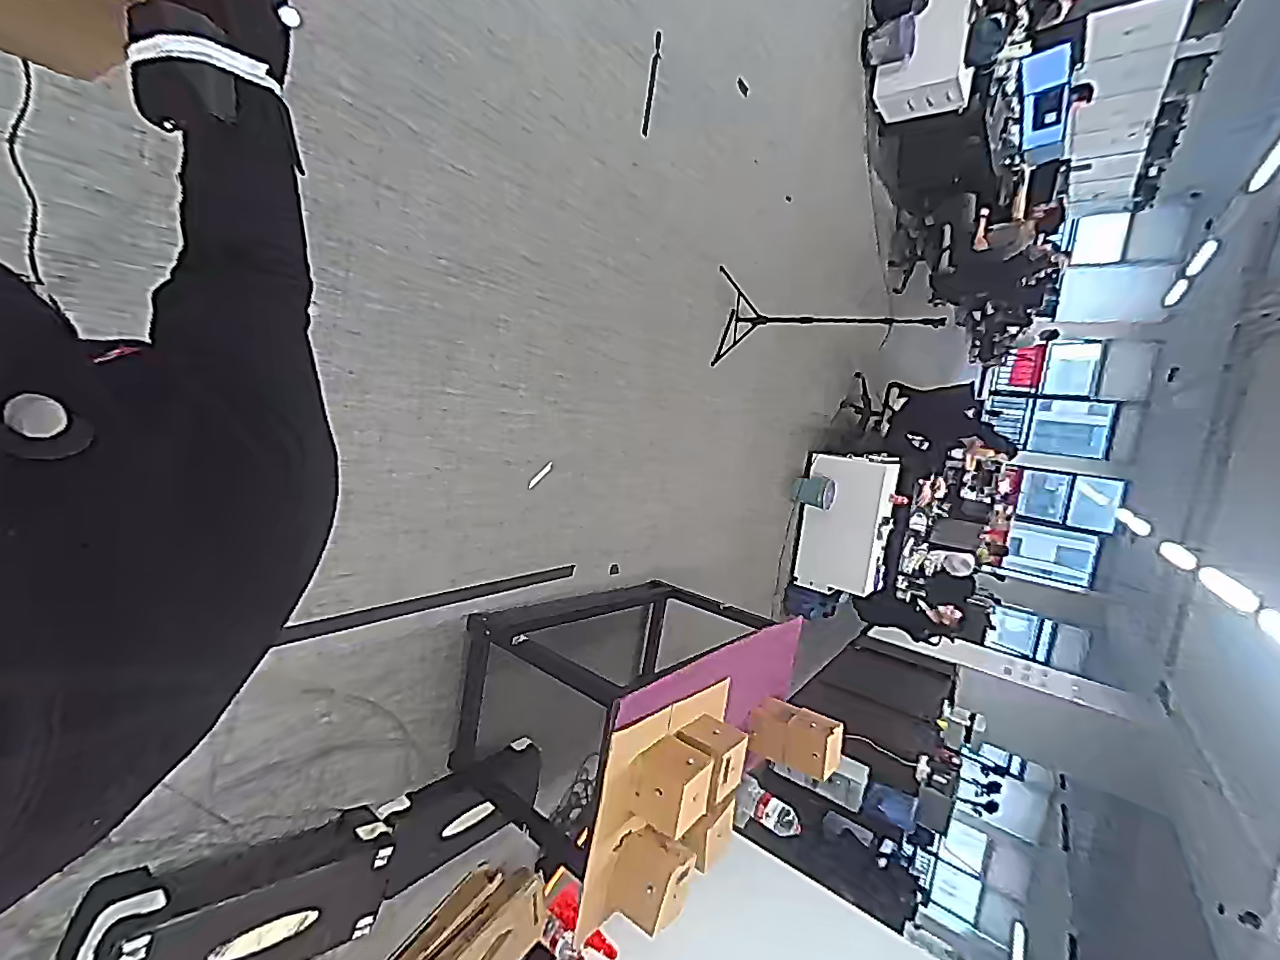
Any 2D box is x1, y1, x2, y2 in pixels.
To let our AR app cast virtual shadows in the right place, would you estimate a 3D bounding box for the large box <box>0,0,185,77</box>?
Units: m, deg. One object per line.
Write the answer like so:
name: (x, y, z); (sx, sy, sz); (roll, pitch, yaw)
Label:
large box: (-0.530, -0.489, 0.270); (0.408, 0.320, 0.320); (-7, 113, -54)
